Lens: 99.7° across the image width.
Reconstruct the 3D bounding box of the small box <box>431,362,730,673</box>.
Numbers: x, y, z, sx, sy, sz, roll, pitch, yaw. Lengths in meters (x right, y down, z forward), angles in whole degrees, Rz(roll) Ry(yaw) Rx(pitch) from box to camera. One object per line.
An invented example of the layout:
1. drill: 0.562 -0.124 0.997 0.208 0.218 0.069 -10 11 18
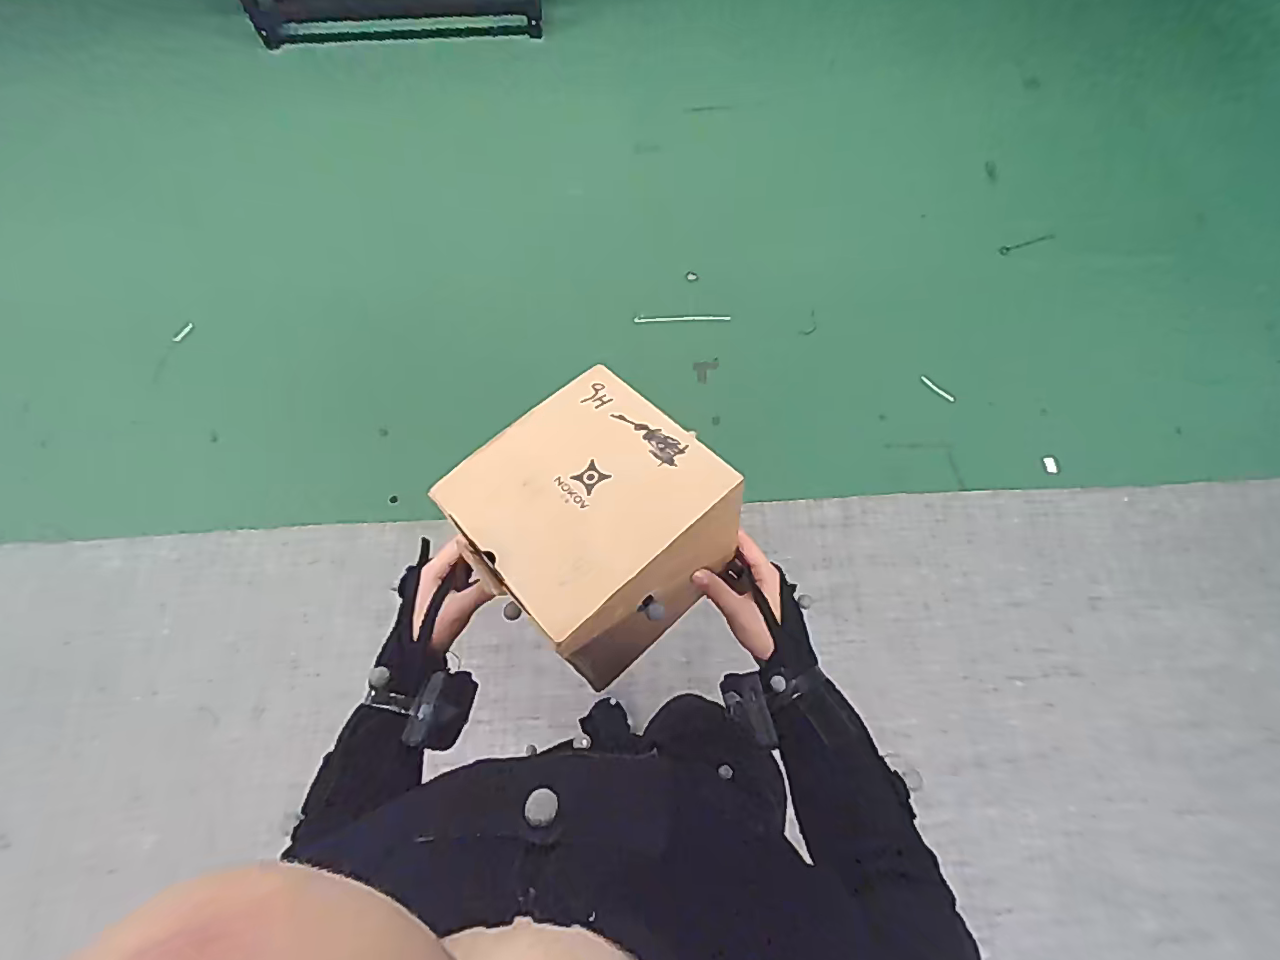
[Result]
1. small box: -0.037 0.040 0.472 0.179 0.176 0.168 -41 63 -15
